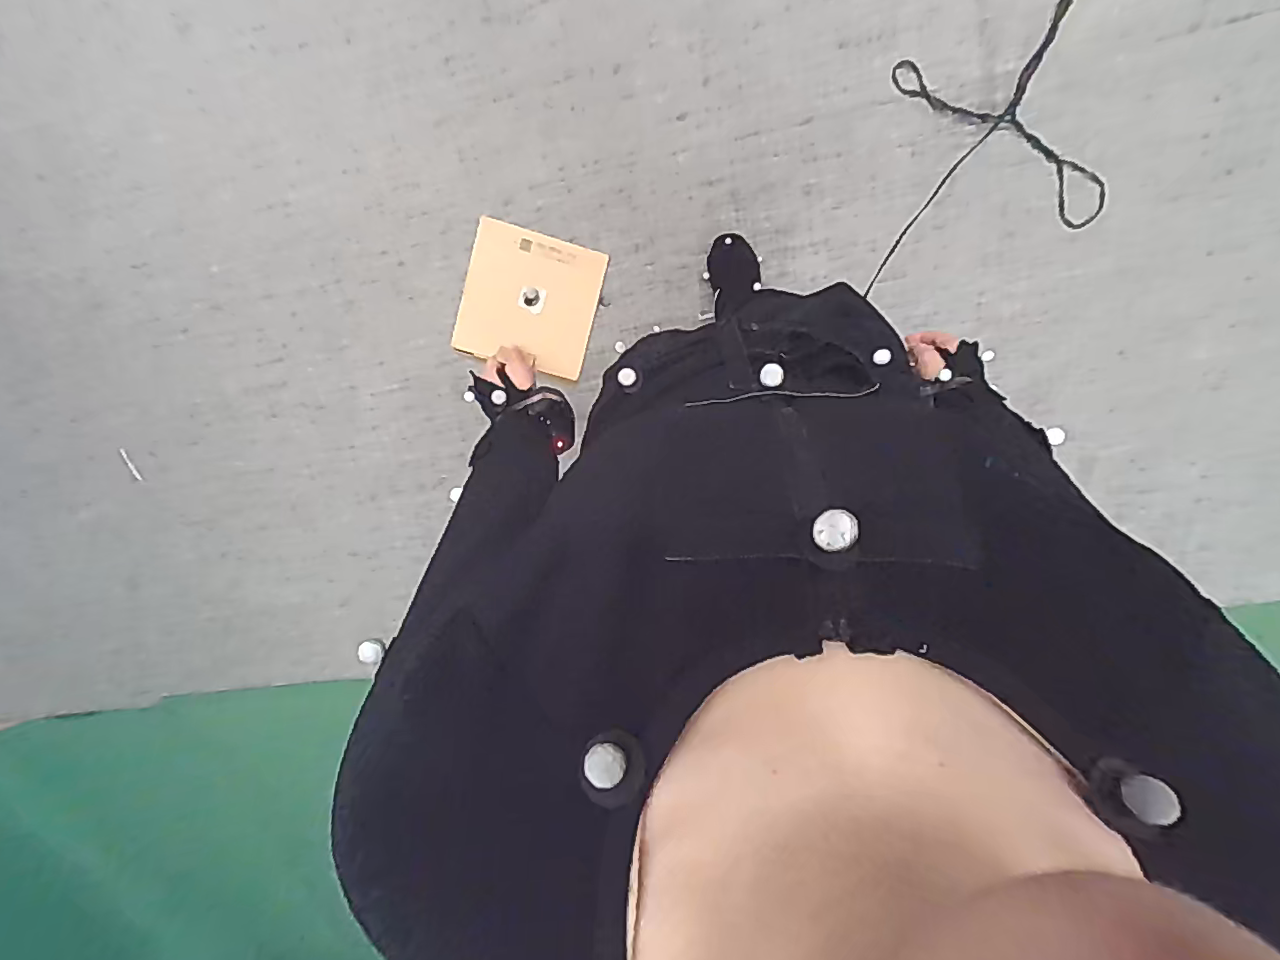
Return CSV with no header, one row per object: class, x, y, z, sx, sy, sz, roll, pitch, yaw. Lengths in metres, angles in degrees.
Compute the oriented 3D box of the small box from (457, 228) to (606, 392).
small box,-0.147,-0.230,0.764,0.168,0.179,0.176,13,94,-9
